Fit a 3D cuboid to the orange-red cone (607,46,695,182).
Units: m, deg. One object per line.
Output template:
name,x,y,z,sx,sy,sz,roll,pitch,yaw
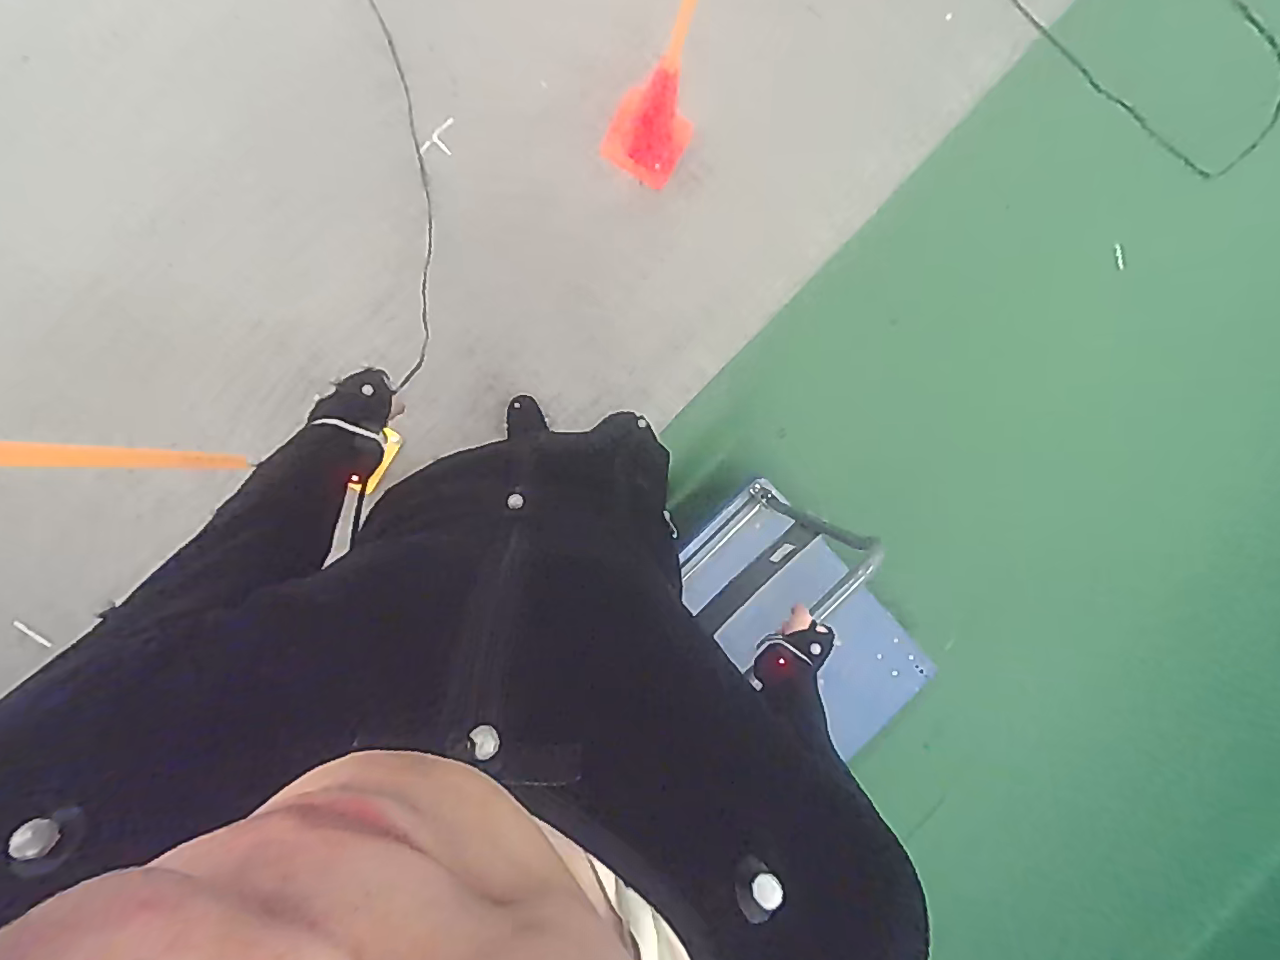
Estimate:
orange-red cone,0.056,-0.926,1.315,0.198,0.360,0.199,29,93,-12
